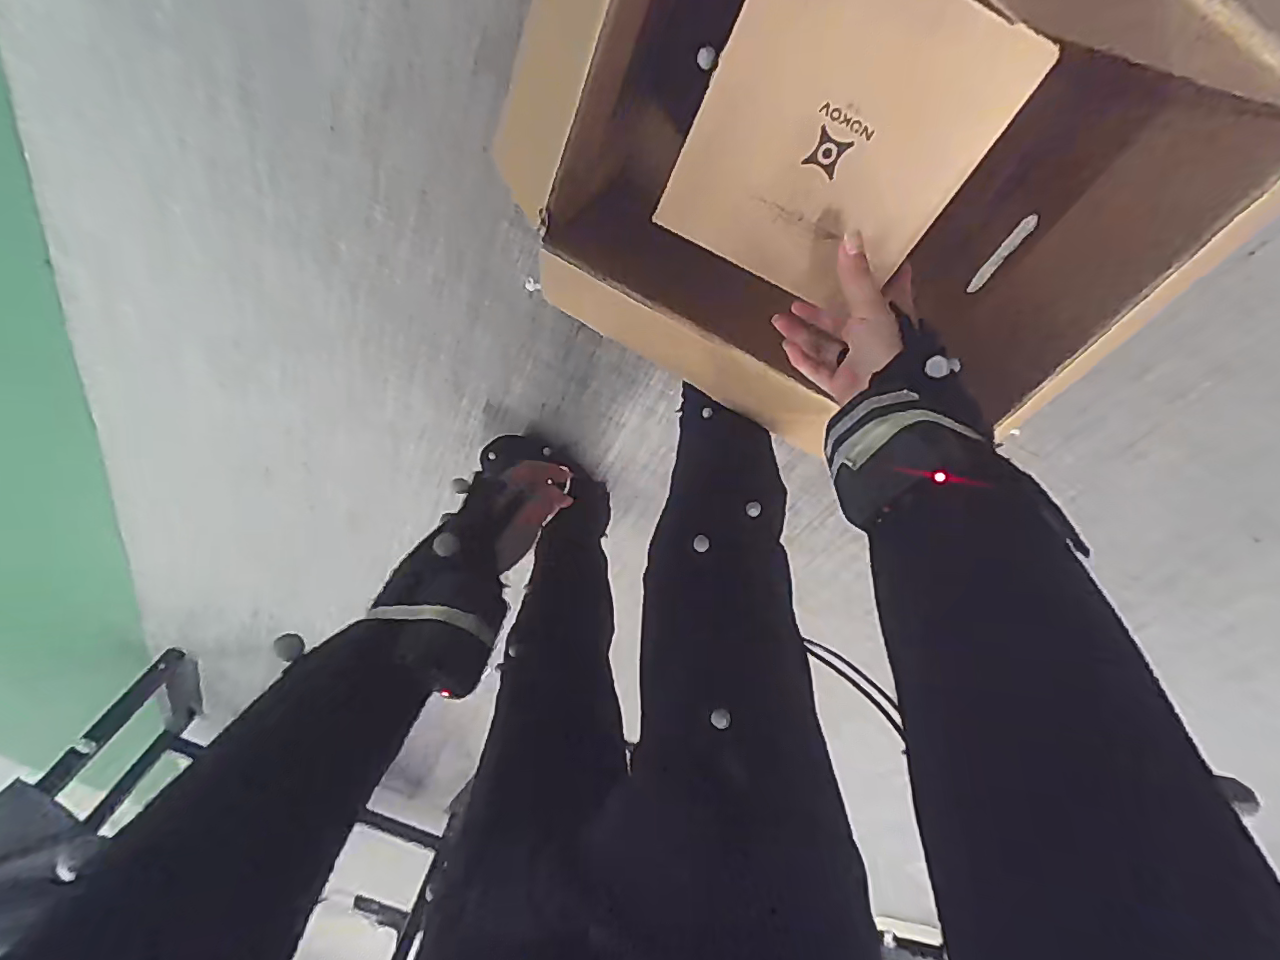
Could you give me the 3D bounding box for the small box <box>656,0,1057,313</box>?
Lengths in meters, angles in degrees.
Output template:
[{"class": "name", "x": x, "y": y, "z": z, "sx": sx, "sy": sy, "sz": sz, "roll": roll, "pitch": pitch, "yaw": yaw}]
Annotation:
[{"class": "small box", "x": 0.129, "y": -0.261, "z": 0.388, "sx": 0.168, "sy": 0.176, "sz": 0.179, "roll": 25, "pitch": 131, "yaw": -8}]
